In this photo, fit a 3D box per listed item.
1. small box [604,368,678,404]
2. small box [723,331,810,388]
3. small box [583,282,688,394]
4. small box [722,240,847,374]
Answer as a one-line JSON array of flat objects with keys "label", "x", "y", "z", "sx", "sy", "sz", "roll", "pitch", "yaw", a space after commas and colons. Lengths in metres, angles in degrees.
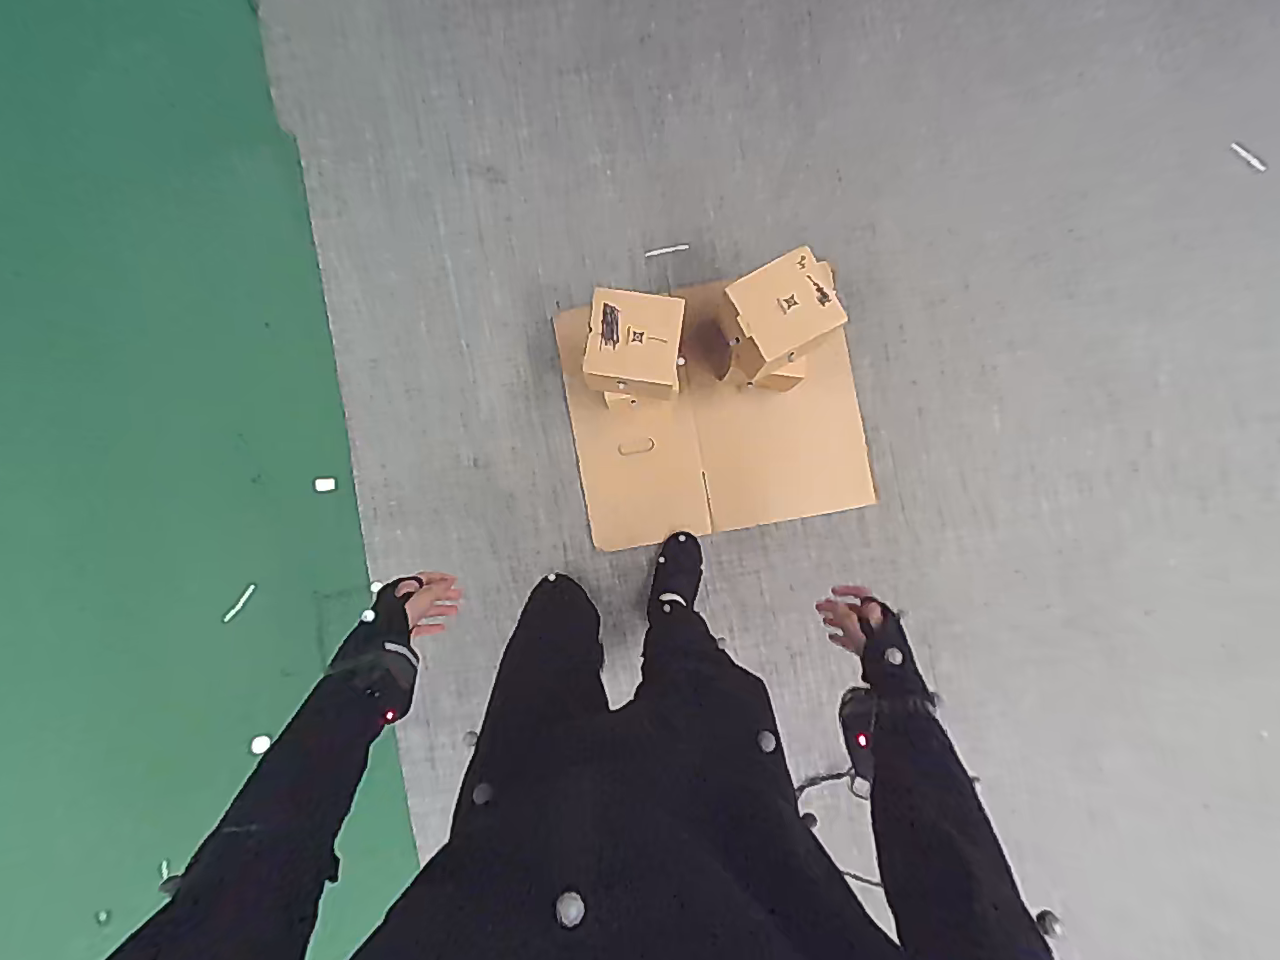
[{"label": "small box", "x": -0.004, "y": -0.277, "z": 1.249, "sx": 0.168, "sy": 0.176, "sz": 0.179, "roll": -9, "pitch": 88, "yaw": 1}, {"label": "small box", "x": 0.290, "y": -0.322, "z": 1.238, "sx": 0.168, "sy": 0.176, "sz": 0.179, "roll": 9, "pitch": 89, "yaw": 2}, {"label": "small box", "x": -0.008, "y": -0.276, "z": 1.085, "sx": 0.179, "sy": 0.176, "sz": 0.168, "roll": 9, "pitch": 89, "yaw": 1}, {"label": "small box", "x": 0.274, "y": -0.331, "z": 1.075, "sx": 0.179, "sy": 0.176, "sz": 0.168, "roll": -27, "pitch": 88, "yaw": 2}]
